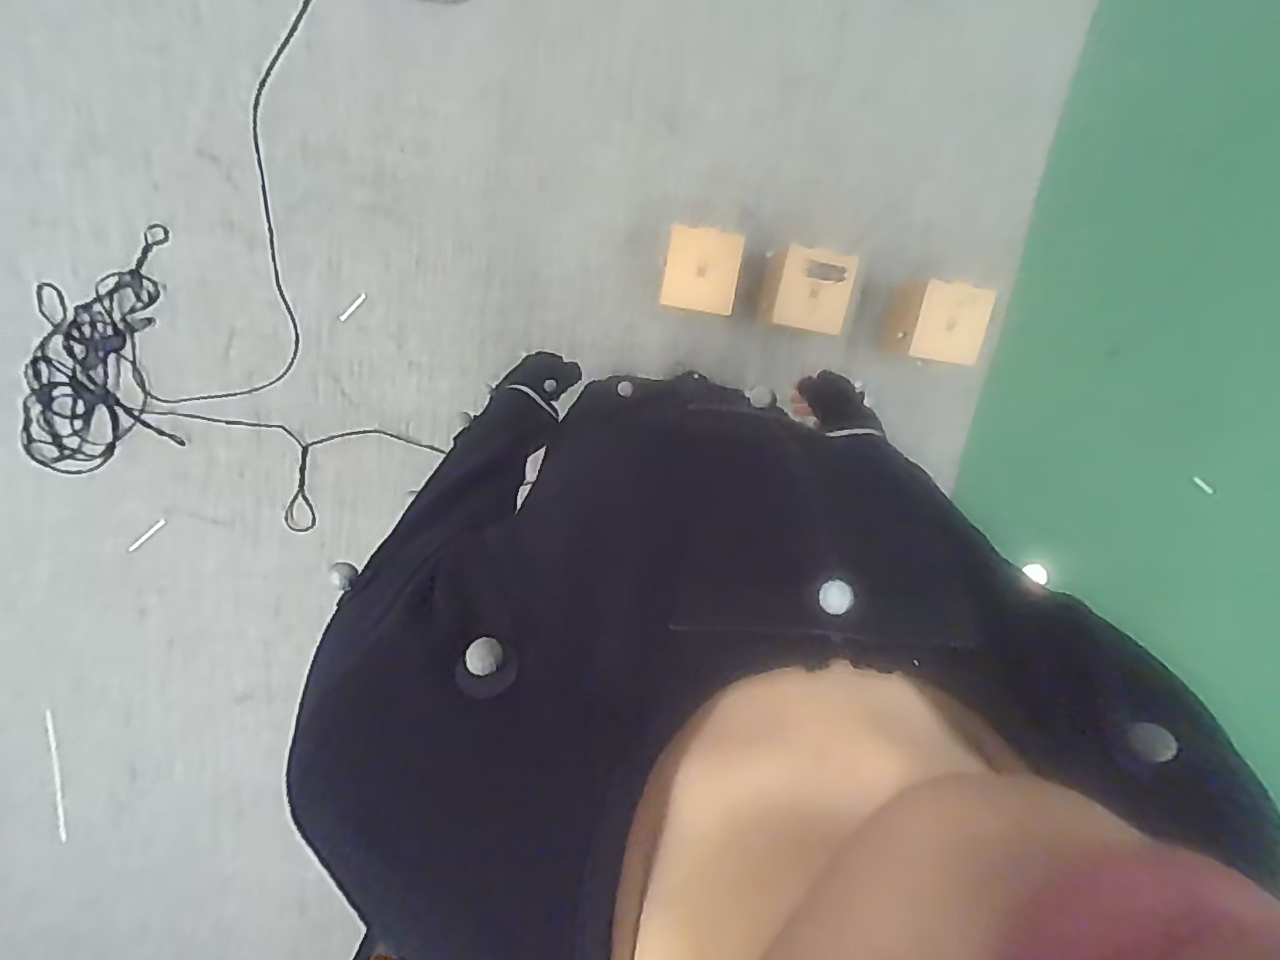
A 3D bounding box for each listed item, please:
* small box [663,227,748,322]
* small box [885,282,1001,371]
[{"bbox_3d":[0.147,-0.480,1.291,0.168,0.176,0.179,9,102,-2],"label":"small box"},{"bbox_3d":[0.726,-0.369,1.320,0.168,0.176,0.179,9,102,-3],"label":"small box"}]
